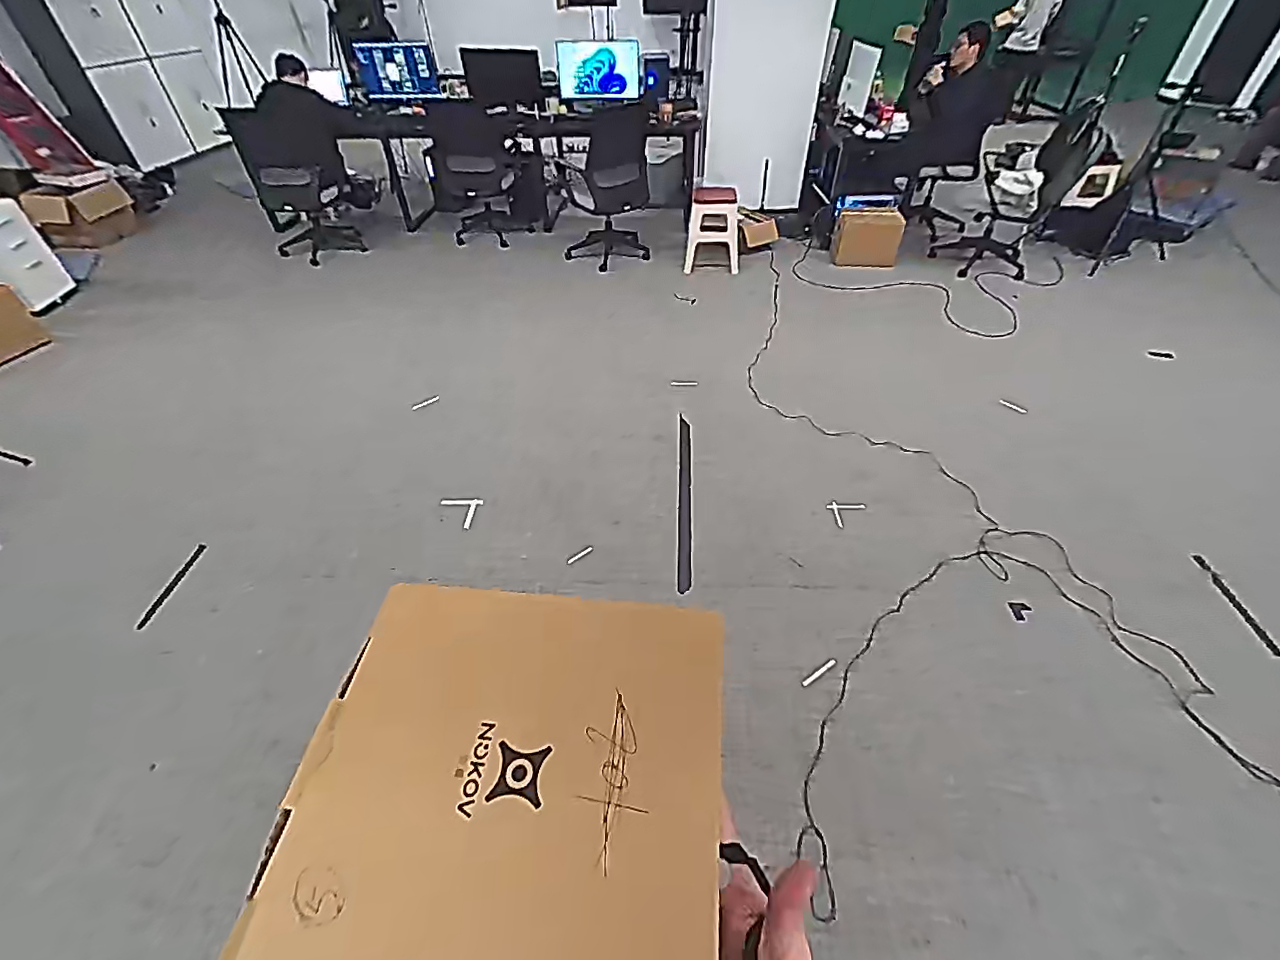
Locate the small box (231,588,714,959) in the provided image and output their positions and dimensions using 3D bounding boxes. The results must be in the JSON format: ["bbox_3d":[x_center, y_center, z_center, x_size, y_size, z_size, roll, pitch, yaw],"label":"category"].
[{"bbox_3d":[-0.055,0.180,0.301,0.179,0.176,0.168,5,50,4],"label":"small box"}]
